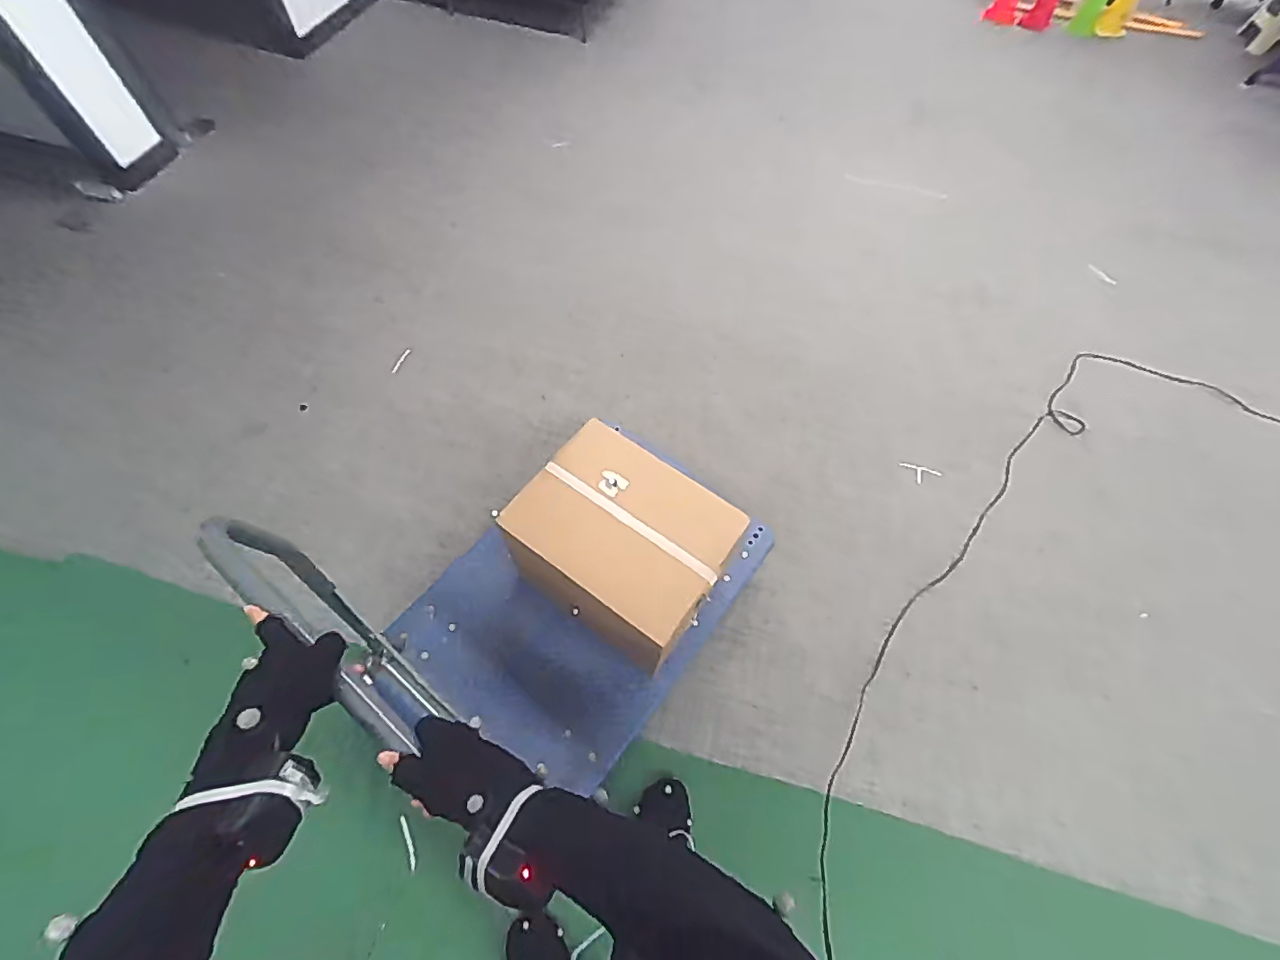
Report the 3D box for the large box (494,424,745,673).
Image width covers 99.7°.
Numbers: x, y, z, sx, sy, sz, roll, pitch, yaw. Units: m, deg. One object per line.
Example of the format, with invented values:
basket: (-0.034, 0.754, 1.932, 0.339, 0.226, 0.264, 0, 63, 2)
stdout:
large box: (-0.039, 0.157, 1.185, 0.408, 0.320, 0.320, 33, 63, 17)
